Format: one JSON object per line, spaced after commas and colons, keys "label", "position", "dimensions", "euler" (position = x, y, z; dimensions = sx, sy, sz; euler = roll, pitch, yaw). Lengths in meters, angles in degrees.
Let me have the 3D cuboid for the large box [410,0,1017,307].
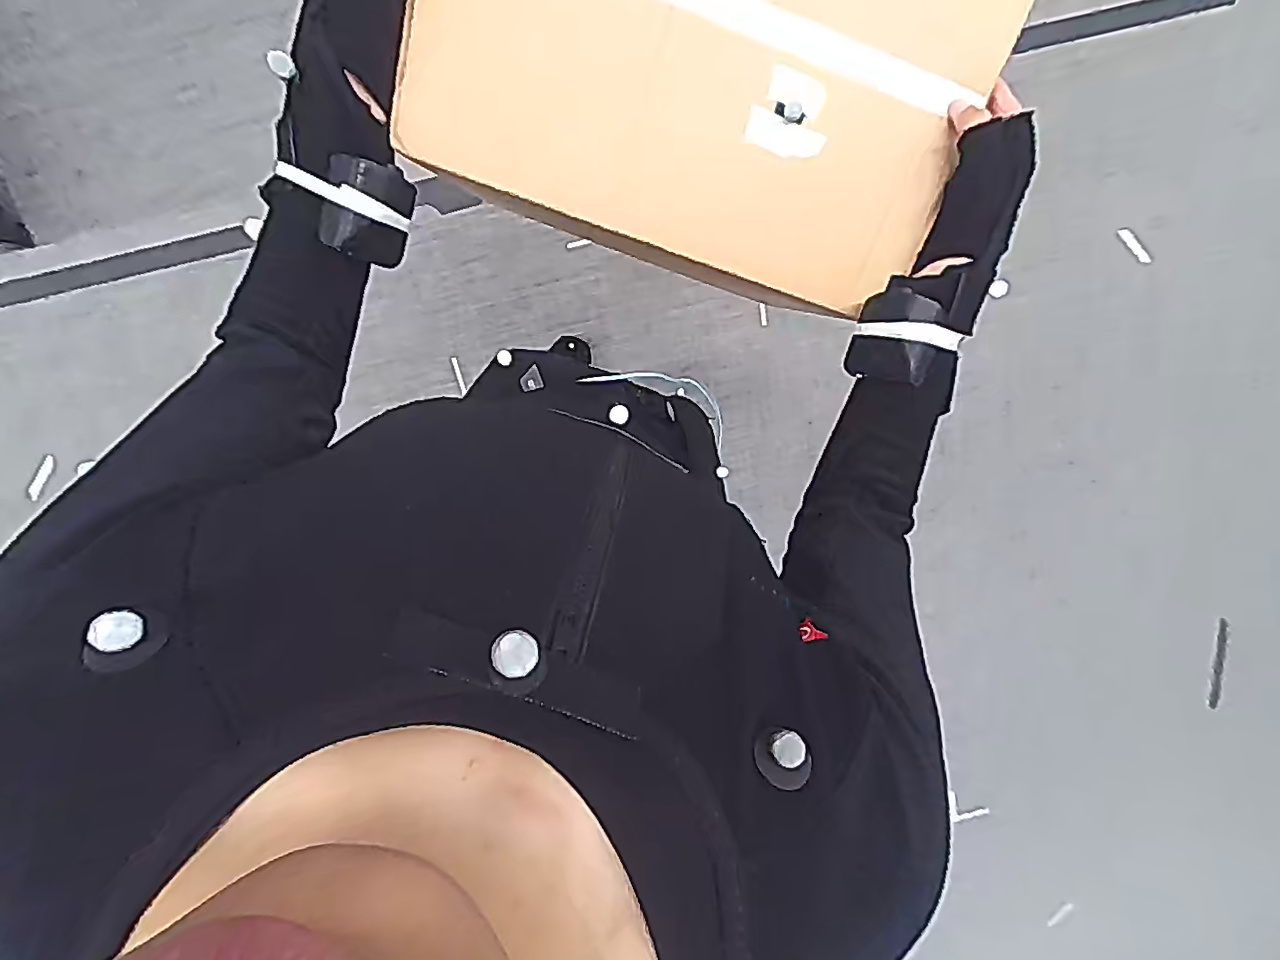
{"label": "large box", "position": [0.050, -0.384, 0.518], "dimensions": [0.408, 0.320, 0.320], "euler": [15, 110, -10]}
